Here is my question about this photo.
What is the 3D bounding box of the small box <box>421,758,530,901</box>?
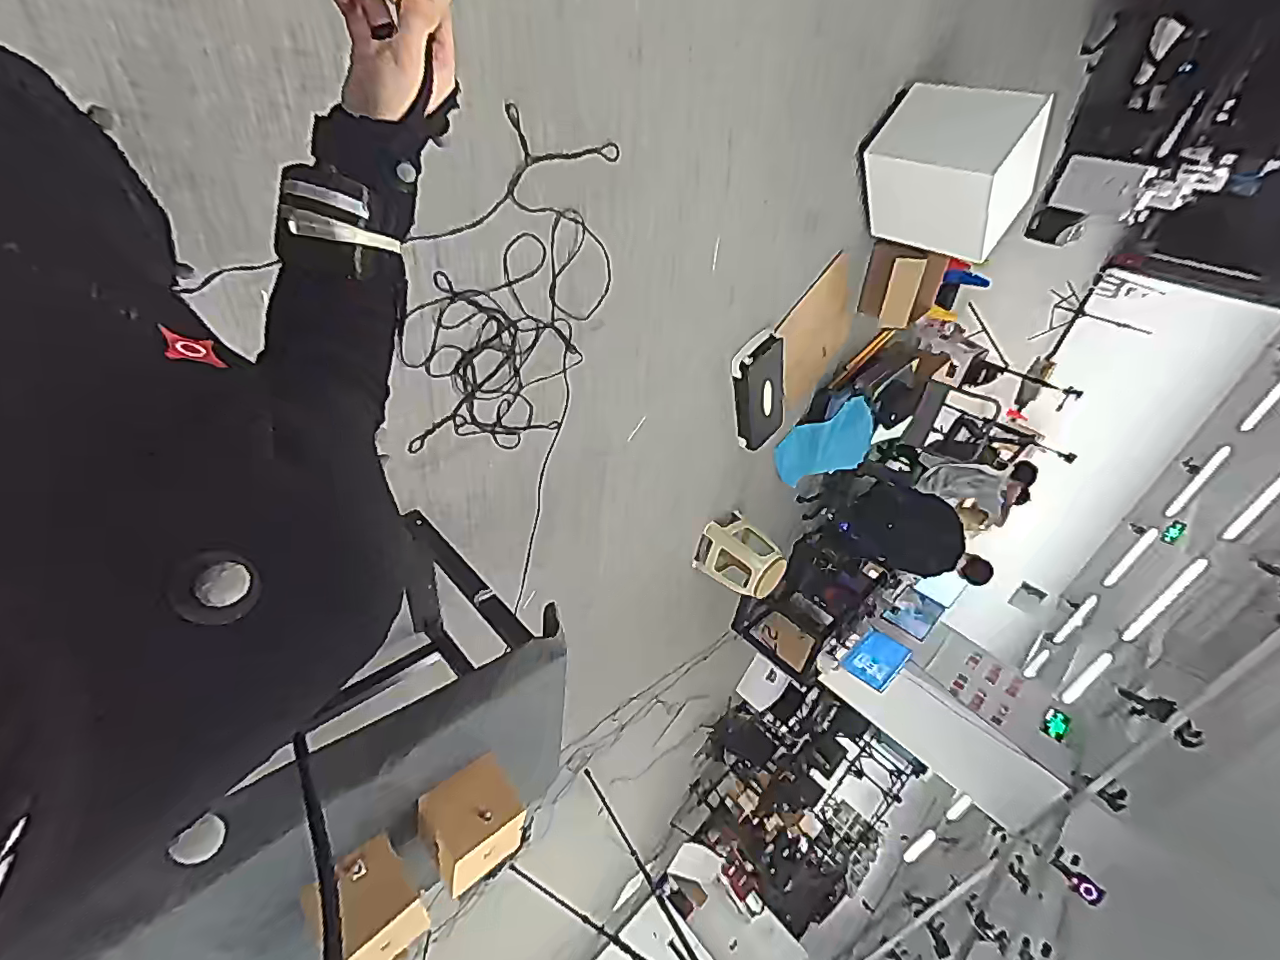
[{"bbox_3d":[-0.377,0.781,1.224,0.179,0.176,0.168,-19,133,-44],"label":"small box"}]

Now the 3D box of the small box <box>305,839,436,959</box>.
[{"bbox_3d":[-0.541,0.878,1.094,0.168,0.176,0.179,-30,139,-37],"label":"small box"}]
